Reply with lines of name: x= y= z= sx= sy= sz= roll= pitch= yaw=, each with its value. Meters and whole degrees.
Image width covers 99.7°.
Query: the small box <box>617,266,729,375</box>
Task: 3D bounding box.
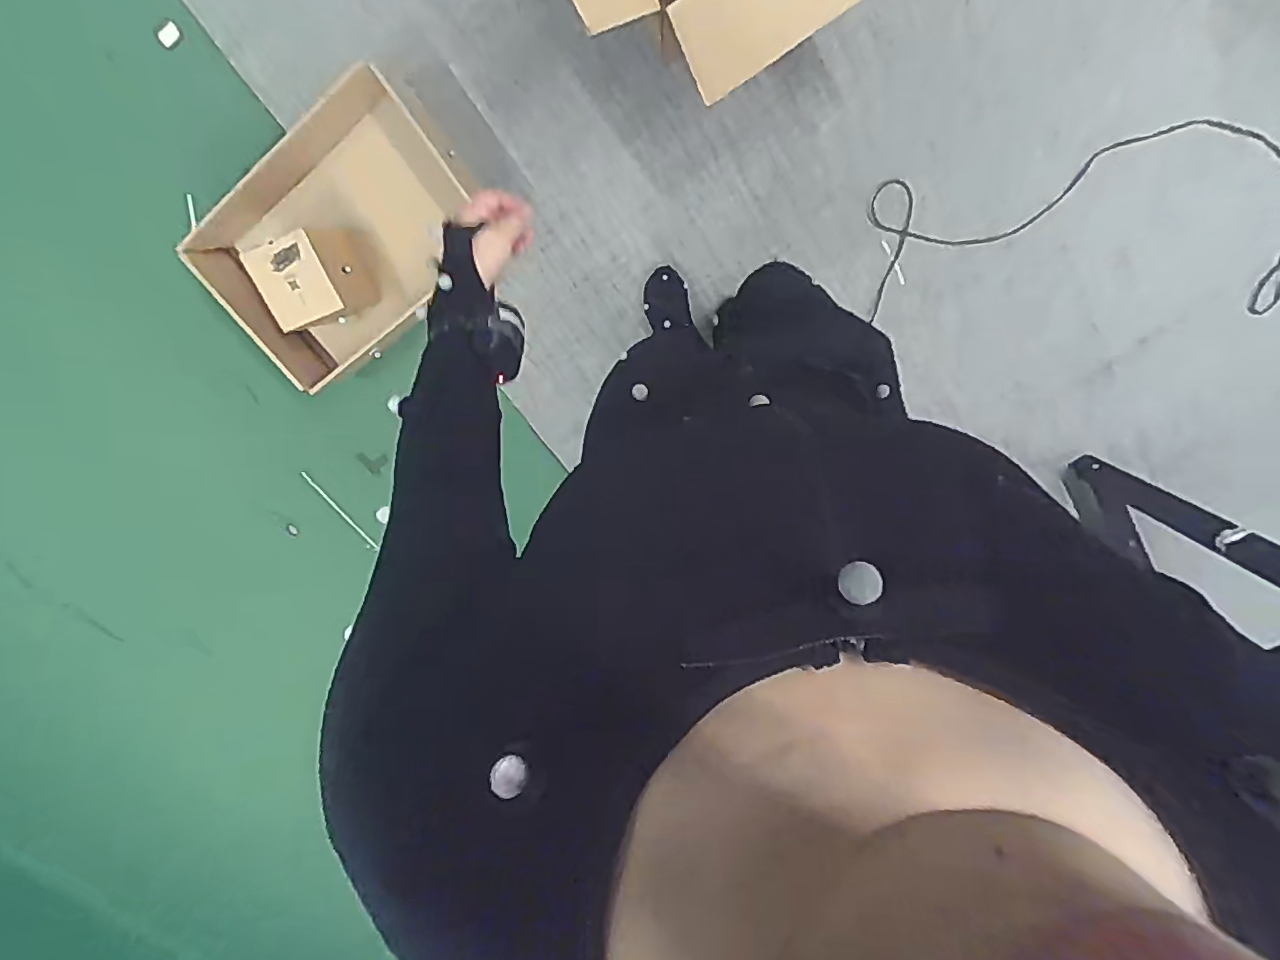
small box: x=0.086 y=-0.377 z=1.279 sx=0.176 sy=0.168 sz=0.179 roll=34 pitch=88 yaw=-41

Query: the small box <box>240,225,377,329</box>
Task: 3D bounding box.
small box: x=-0.750 y=-0.463 z=1.243 sx=0.168 sy=0.176 sz=0.179 roll=-18 pitch=111 yaw=9
